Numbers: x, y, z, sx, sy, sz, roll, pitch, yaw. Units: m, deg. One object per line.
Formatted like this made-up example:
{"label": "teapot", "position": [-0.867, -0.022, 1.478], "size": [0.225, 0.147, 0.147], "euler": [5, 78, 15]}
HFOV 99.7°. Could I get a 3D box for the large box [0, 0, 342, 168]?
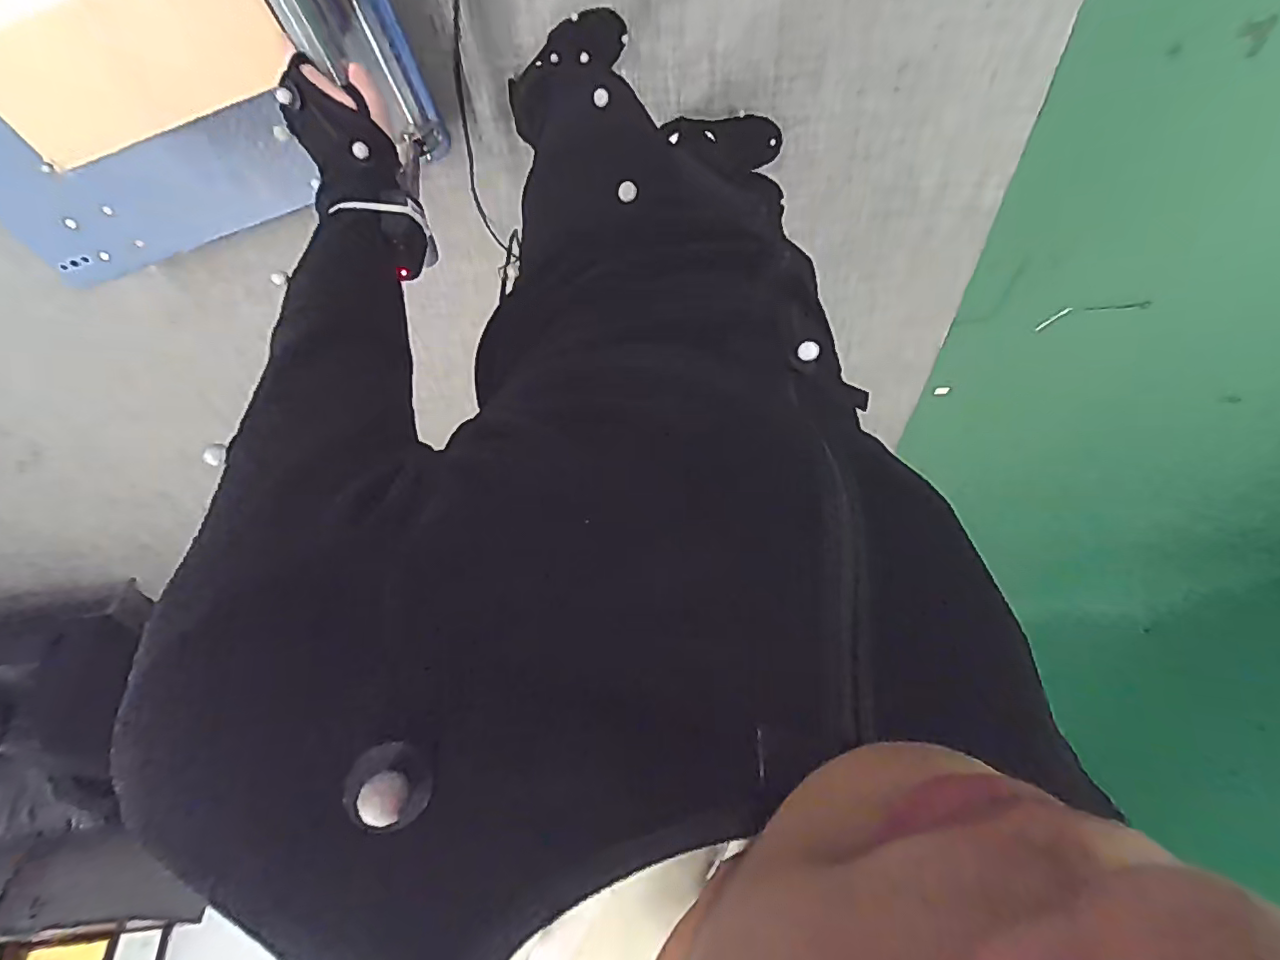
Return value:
{"label": "large box", "position": [-0.718, -0.718, 0.760], "size": [0.408, 0.320, 0.320], "euler": [-18, 137, 3]}
